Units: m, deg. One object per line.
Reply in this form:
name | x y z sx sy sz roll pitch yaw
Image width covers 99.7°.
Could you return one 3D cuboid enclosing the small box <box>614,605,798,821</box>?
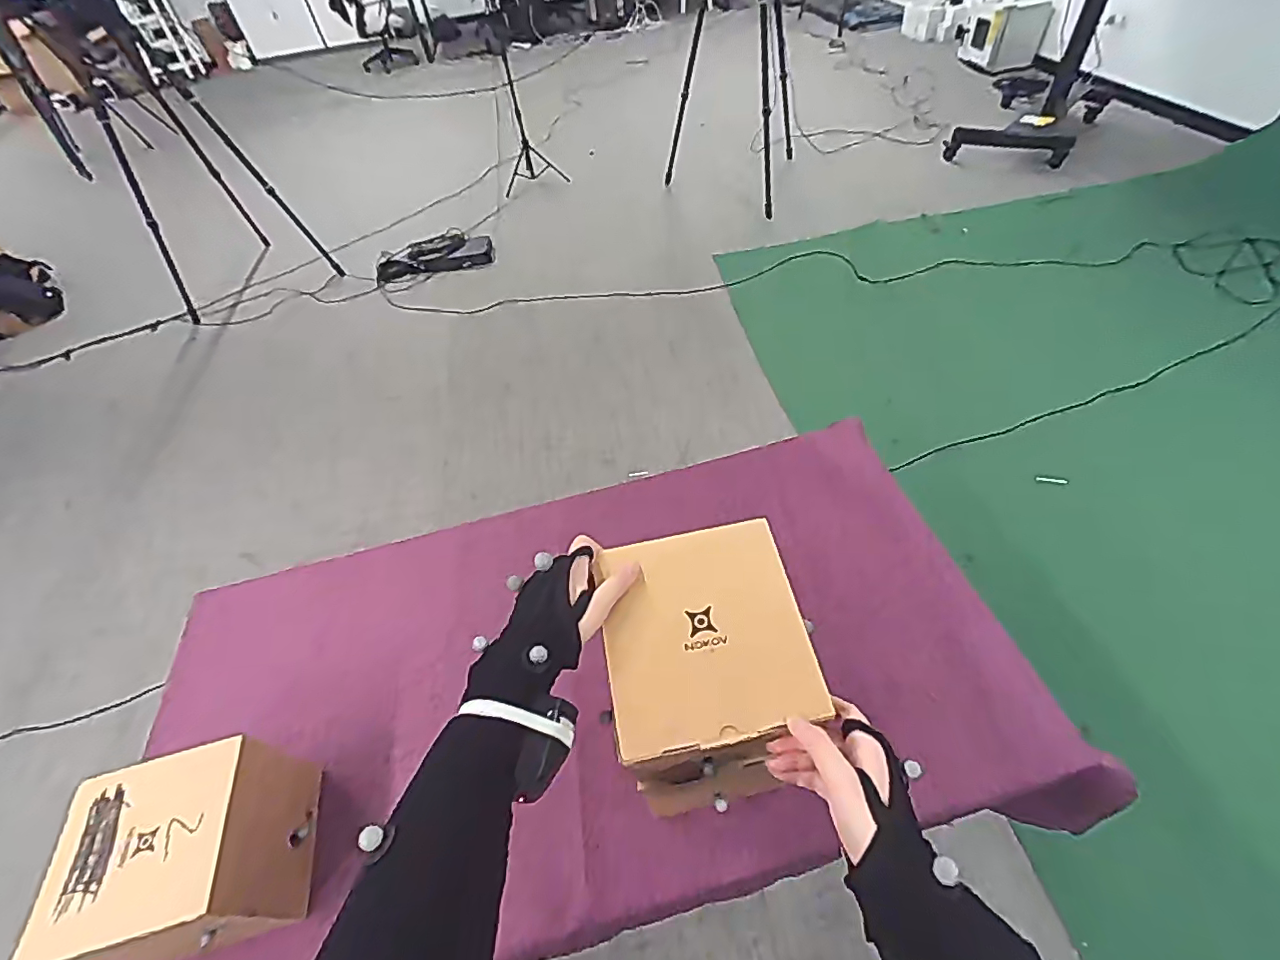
small box | 0.069 0.278 0.643 0.168 0.176 0.179 -12 50 -2
